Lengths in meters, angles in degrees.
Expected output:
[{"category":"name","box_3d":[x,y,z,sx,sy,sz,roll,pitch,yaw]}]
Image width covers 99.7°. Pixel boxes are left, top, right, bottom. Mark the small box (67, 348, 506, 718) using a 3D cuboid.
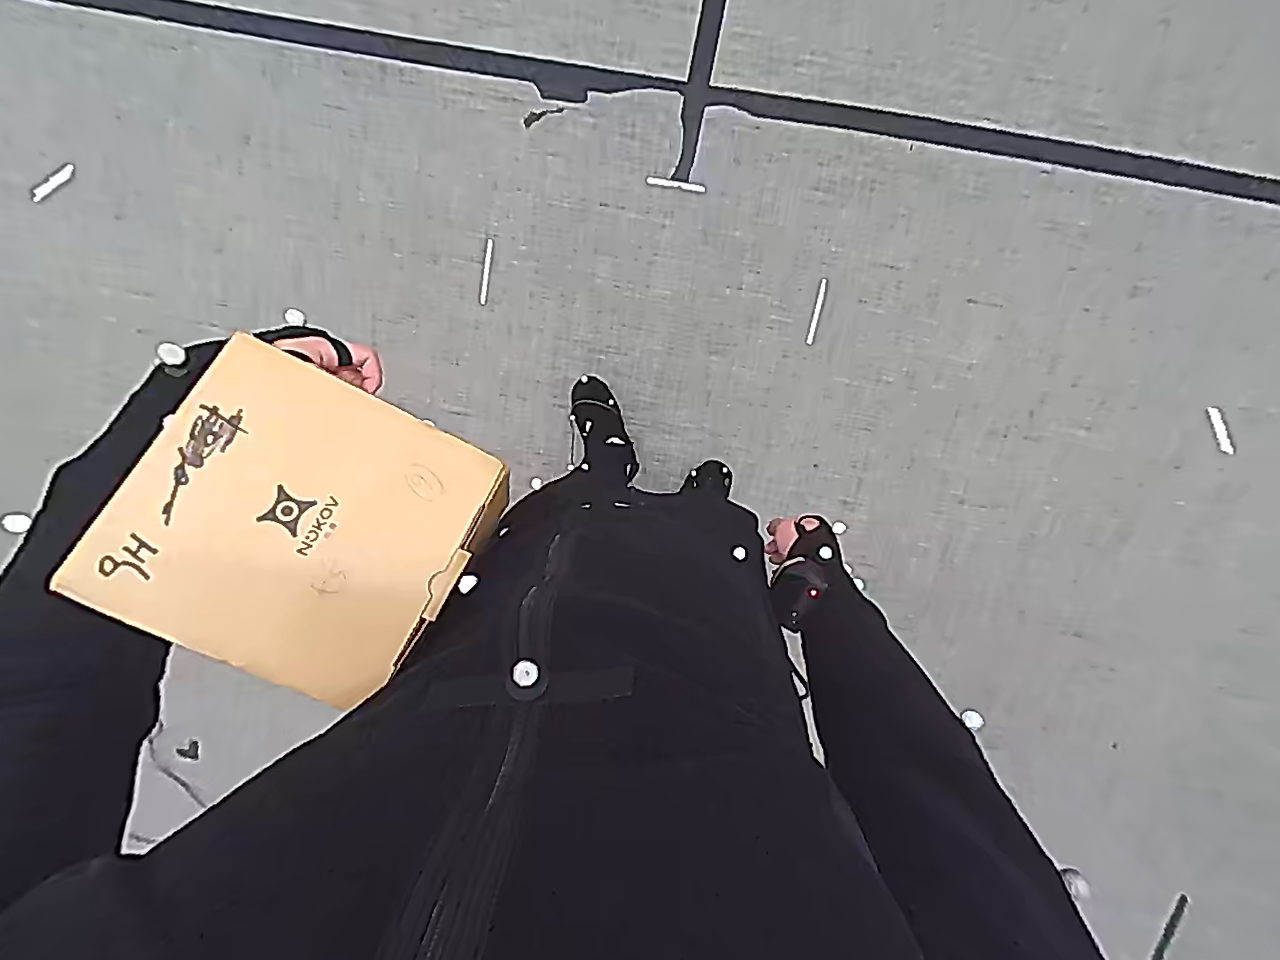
[{"category":"small box","box_3d":[-0.213,0.040,0.392,0.179,0.176,0.168,27,75,-9]}]
